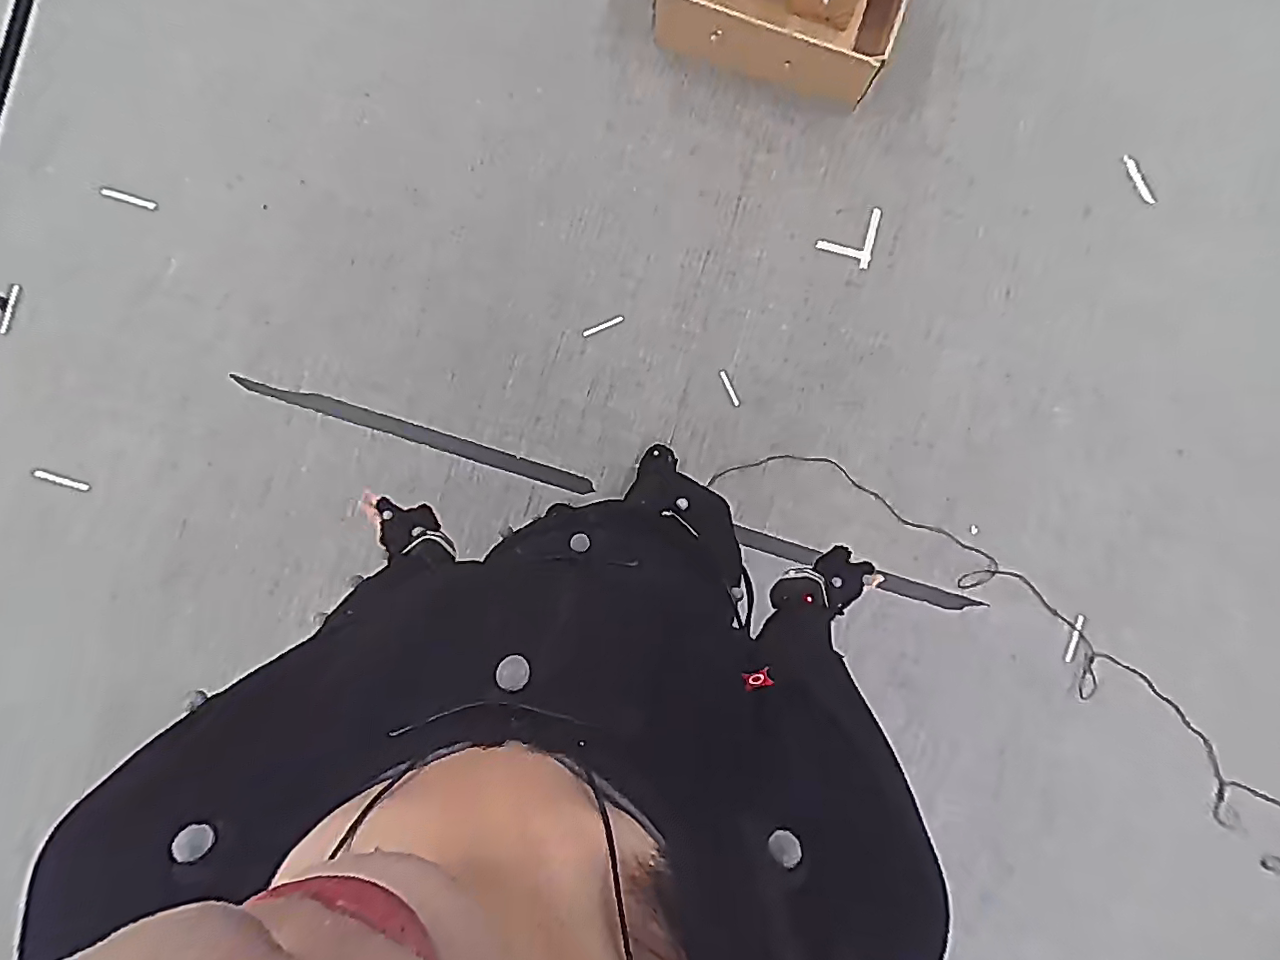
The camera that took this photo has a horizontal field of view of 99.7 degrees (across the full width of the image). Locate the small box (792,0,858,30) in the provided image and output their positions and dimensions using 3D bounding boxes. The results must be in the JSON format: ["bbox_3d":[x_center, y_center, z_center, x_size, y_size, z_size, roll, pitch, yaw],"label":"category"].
[{"bbox_3d":[0.510,-1.332,1.403,0.168,0.176,0.179,19,91,2],"label":"small box"}]
